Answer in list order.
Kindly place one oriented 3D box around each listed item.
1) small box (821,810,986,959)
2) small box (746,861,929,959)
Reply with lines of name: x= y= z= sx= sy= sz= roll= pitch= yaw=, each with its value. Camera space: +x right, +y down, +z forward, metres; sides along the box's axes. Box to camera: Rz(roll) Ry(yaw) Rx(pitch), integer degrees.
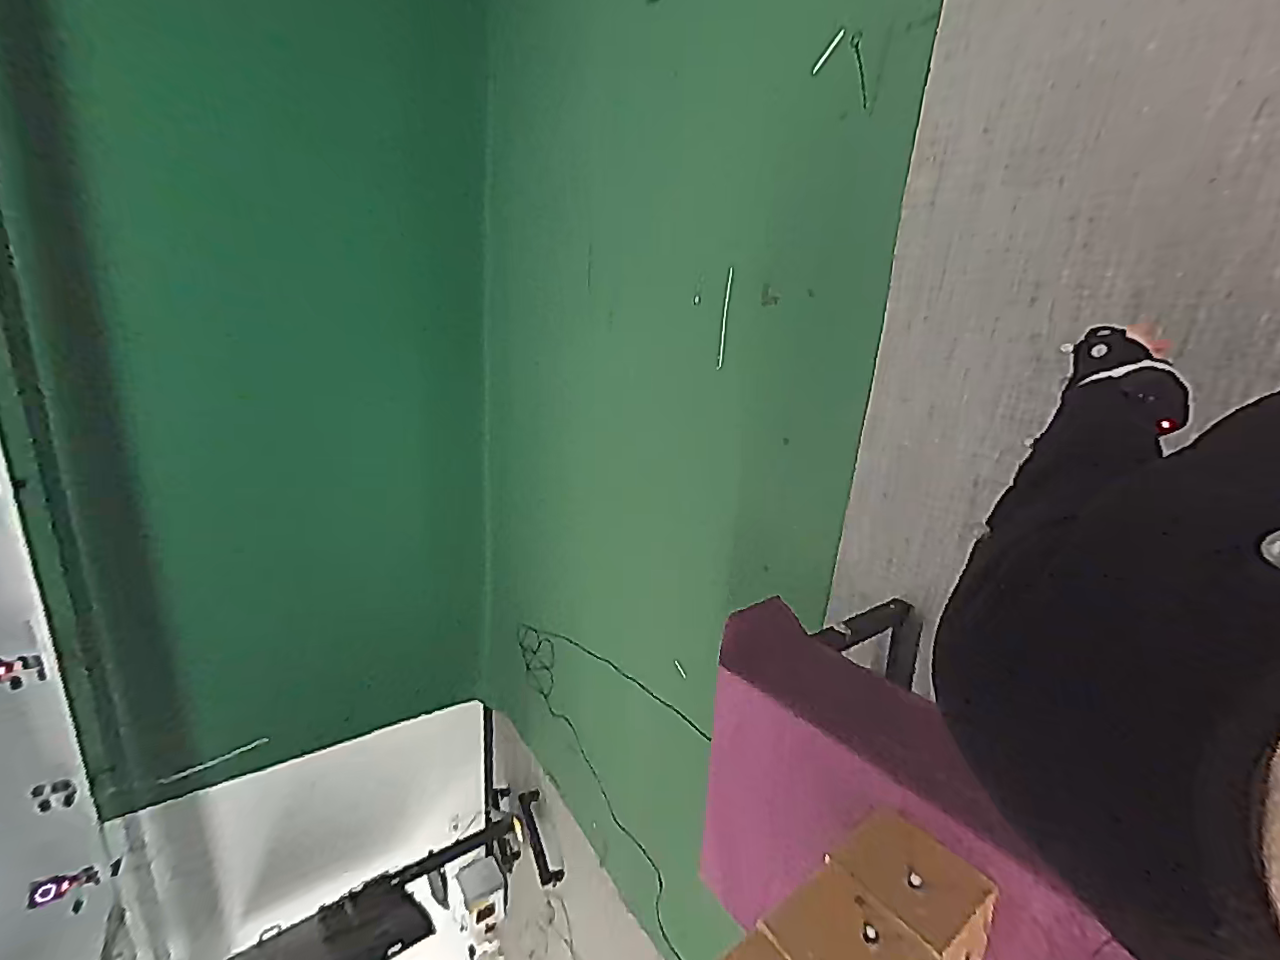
small box: x=0.390 y=0.649 z=0.818 sx=0.179 sy=0.176 sz=0.168 roll=18 pitch=110 yaw=51
small box: x=0.259 y=0.673 z=0.723 sx=0.168 sy=0.176 sz=0.179 roll=21 pitch=112 yaw=52
